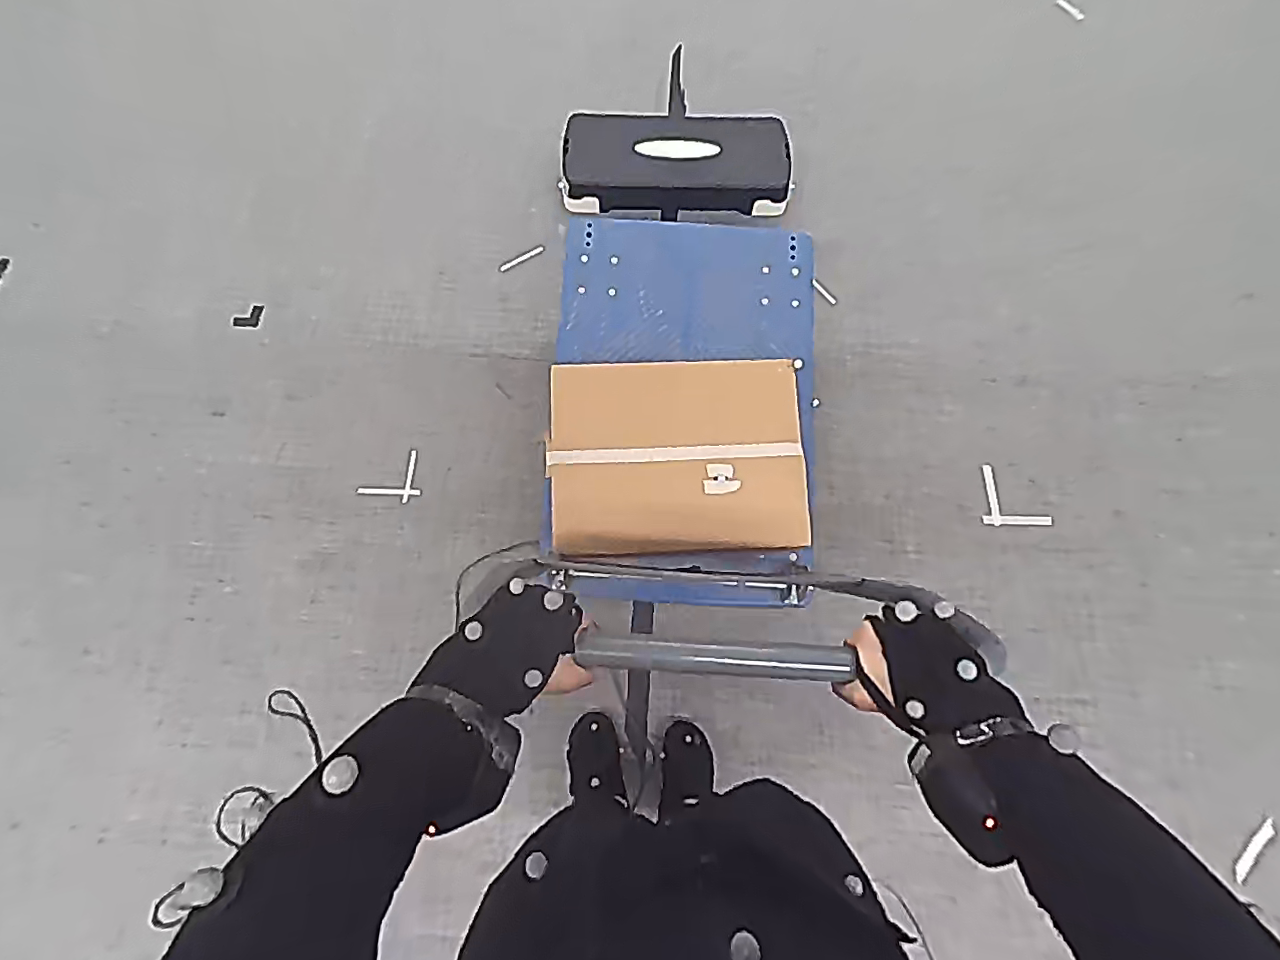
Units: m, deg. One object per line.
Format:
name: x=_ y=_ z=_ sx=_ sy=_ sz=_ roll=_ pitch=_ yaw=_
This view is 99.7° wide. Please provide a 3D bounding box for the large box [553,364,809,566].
large box: x=0.055 y=-0.008 z=1.017 sx=0.408 sy=0.320 sz=0.320 roll=-2 pitch=80 yaw=-3
